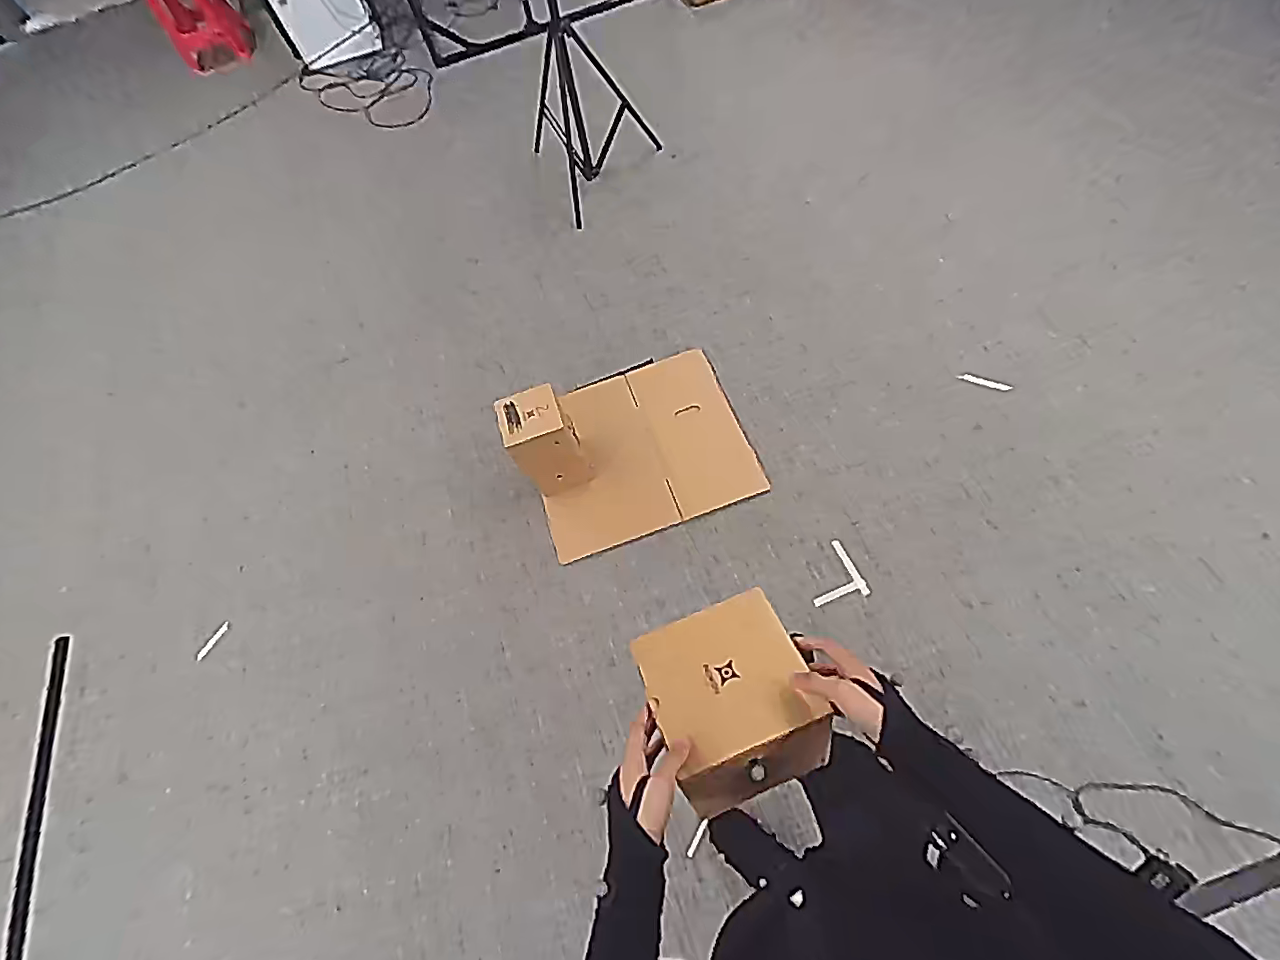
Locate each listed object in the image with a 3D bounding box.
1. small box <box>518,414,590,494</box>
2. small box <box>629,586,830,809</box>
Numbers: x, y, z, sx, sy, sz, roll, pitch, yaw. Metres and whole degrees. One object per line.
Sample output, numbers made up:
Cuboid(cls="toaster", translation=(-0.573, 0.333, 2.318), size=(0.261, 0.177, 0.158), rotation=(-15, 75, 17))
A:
Cuboid(cls="small box", translation=(-0.267, -0.078, 1.735), size=(0.179, 0.176, 0.168), rotation=(-21, 63, 0))
Cuboid(cls="small box", translation=(0.106, 0.265, 0.657), size=(0.179, 0.176, 0.168), rotation=(-23, 46, -4))
